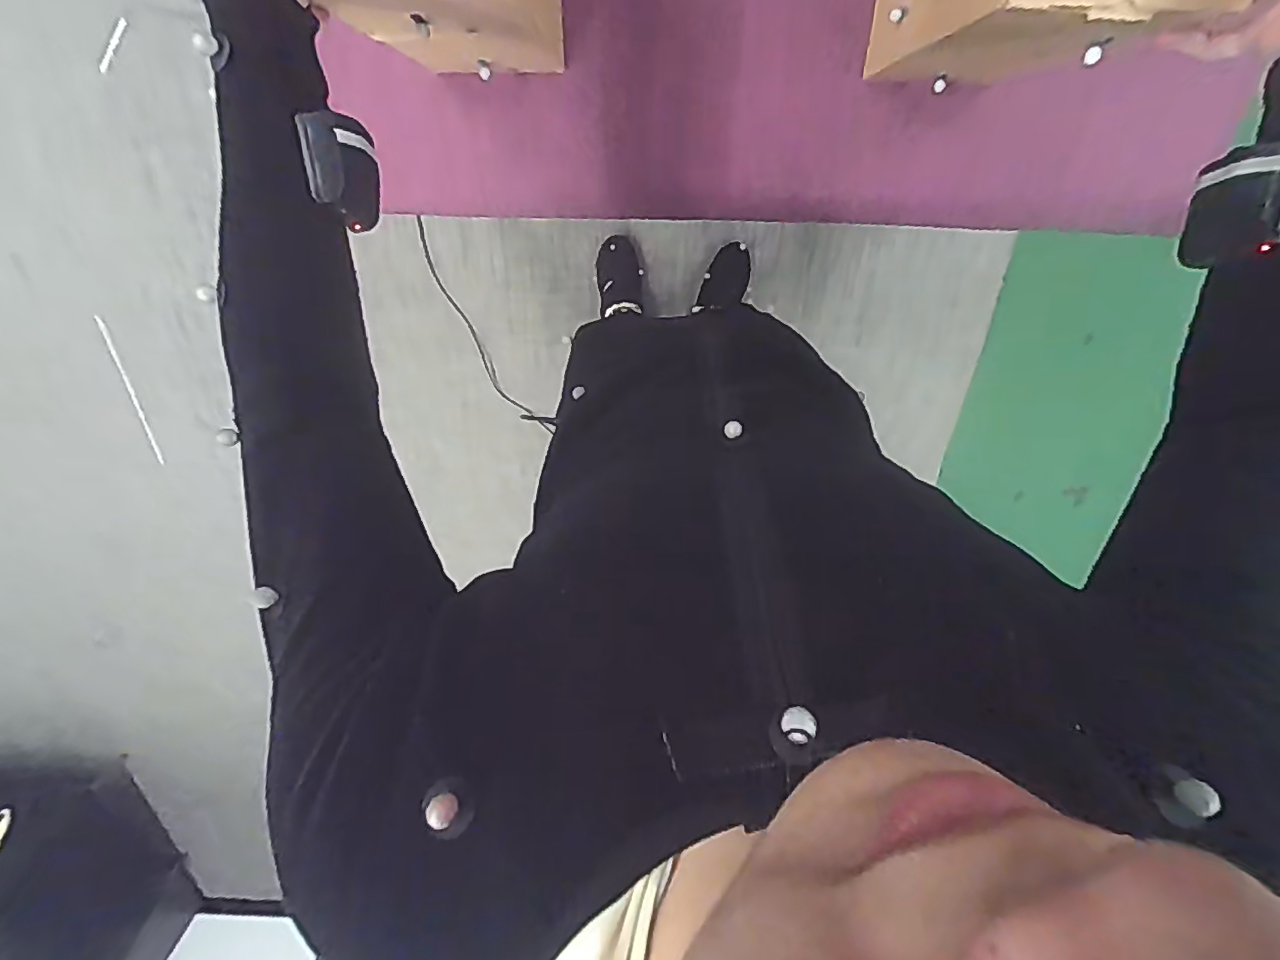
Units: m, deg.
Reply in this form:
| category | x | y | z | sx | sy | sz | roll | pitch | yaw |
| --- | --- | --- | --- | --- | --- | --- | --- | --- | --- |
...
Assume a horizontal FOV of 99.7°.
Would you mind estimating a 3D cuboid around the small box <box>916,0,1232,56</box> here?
| category | x | y | z | sx | sy | sz | roll | pitch | yaw |
| --- | --- | --- | --- | --- | --- | --- | --- | --- | --- |
| small box | 0.333 | -0.442 | 0.403 | 0.168 | 0.176 | 0.179 | 4 | 118 | 1 |

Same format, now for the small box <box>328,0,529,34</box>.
| category | x | y | z | sx | sy | sz | roll | pitch | yaw |
| --- | --- | --- | --- | --- | --- | --- | --- | --- | --- |
| small box | -0.187 | -0.471 | 0.411 | 0.168 | 0.176 | 0.179 | 0 | 119 | 2 |

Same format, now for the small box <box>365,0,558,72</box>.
| category | x | y | z | sx | sy | sz | roll | pitch | yaw |
| --- | --- | --- | --- | --- | --- | --- | --- | --- | --- |
| small box | -0.181 | -0.546 | 0.555 | 0.168 | 0.176 | 0.179 | 2 | 118 | 2 |
